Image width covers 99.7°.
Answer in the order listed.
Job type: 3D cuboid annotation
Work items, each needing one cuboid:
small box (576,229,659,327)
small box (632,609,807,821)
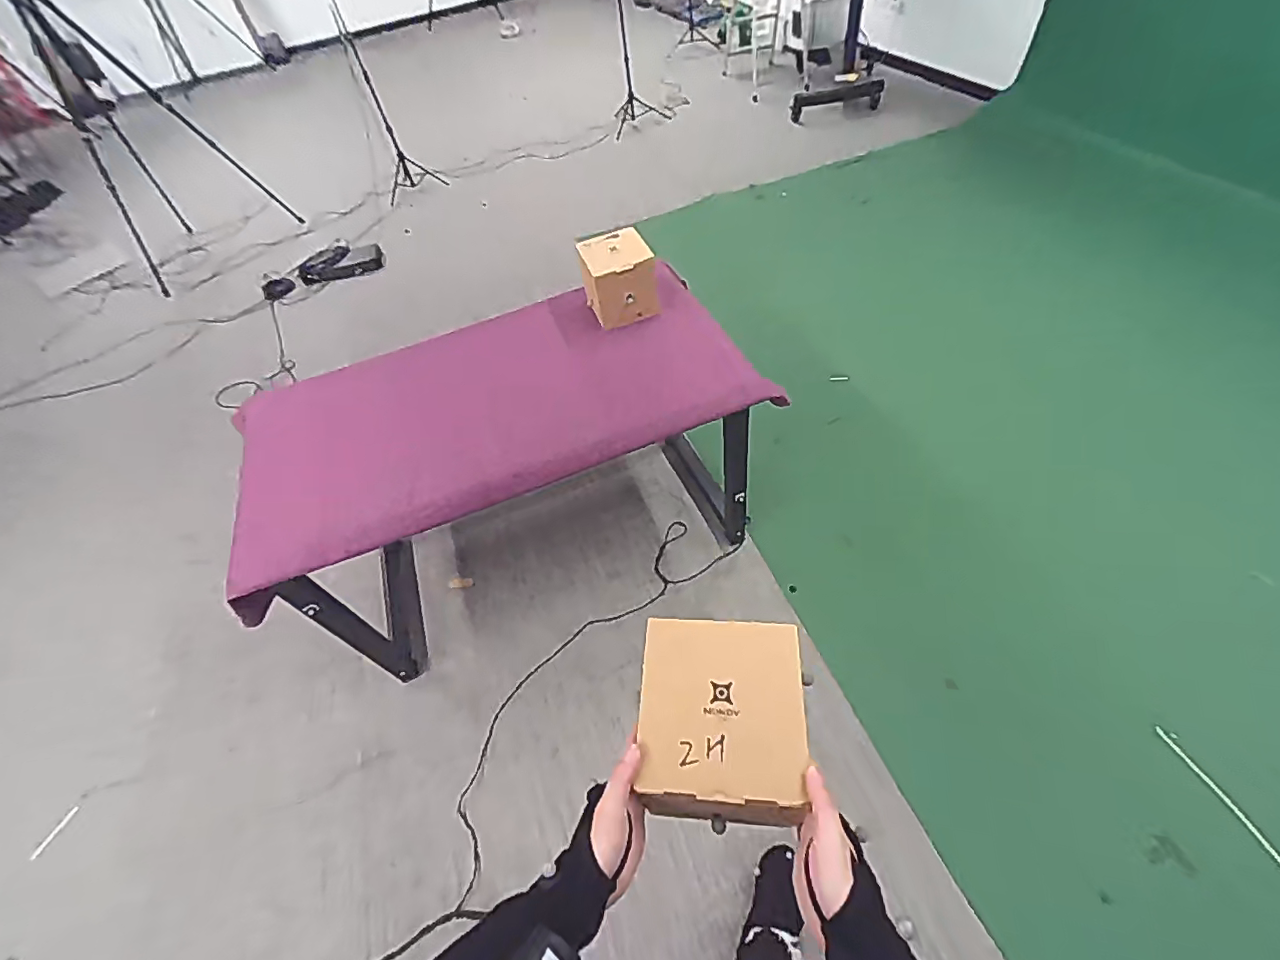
[{"bbox_3d":[-0.057,-0.531,1.446,0.168,0.176,0.179,-20,54,-7],"label":"small box"},{"bbox_3d":[0.090,0.266,0.613,0.168,0.176,0.179,0,52,9],"label":"small box"}]
